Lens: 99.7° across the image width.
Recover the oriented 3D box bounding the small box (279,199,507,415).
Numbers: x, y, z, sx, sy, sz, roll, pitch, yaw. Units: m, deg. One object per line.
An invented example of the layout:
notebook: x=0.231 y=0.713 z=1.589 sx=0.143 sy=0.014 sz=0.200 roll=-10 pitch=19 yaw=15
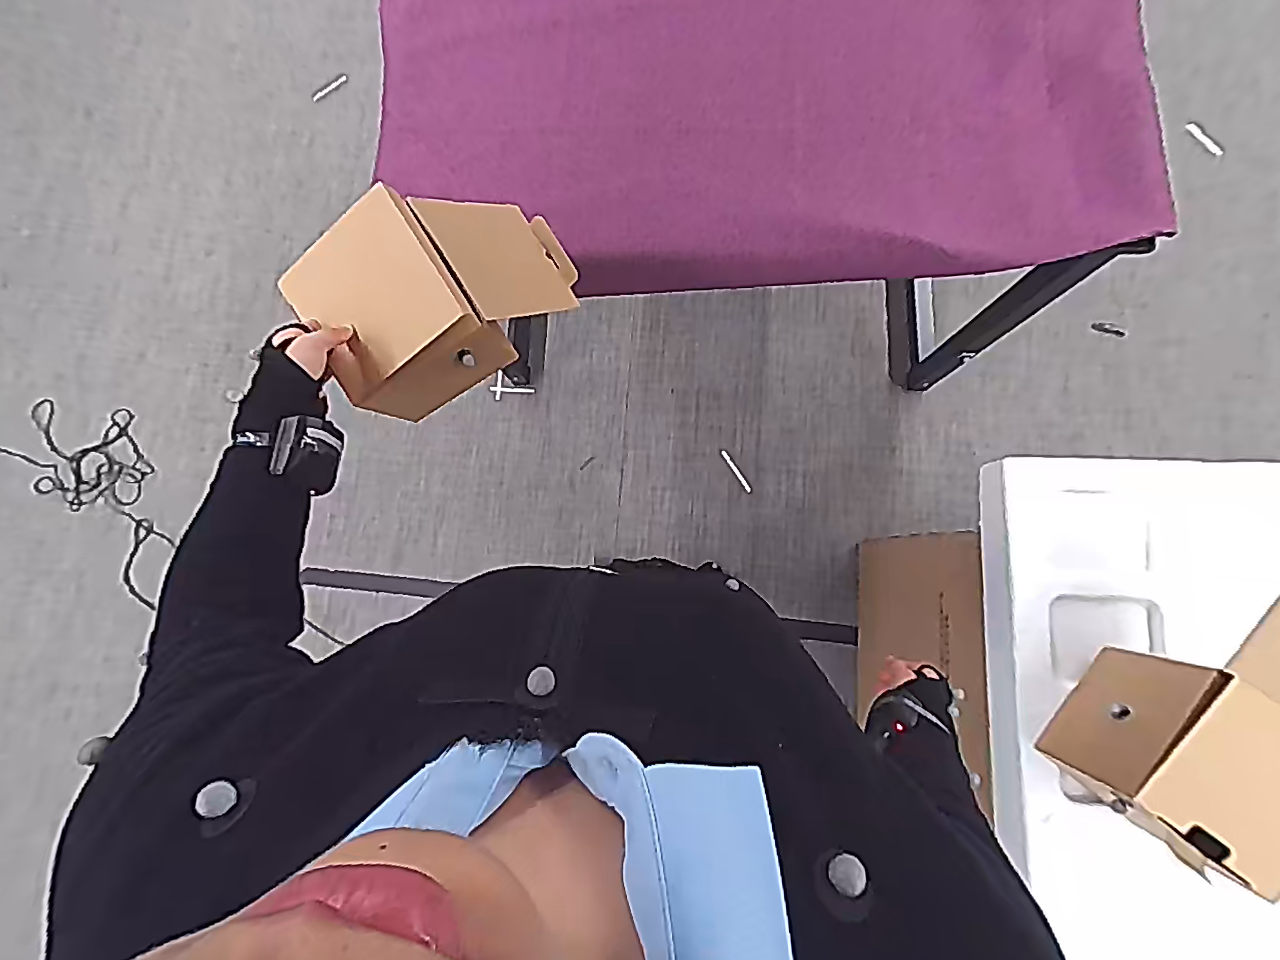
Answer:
small box: x=-0.286 y=-0.200 z=0.676 sx=0.179 sy=0.176 sz=0.168 roll=-32 pitch=89 yaw=0
